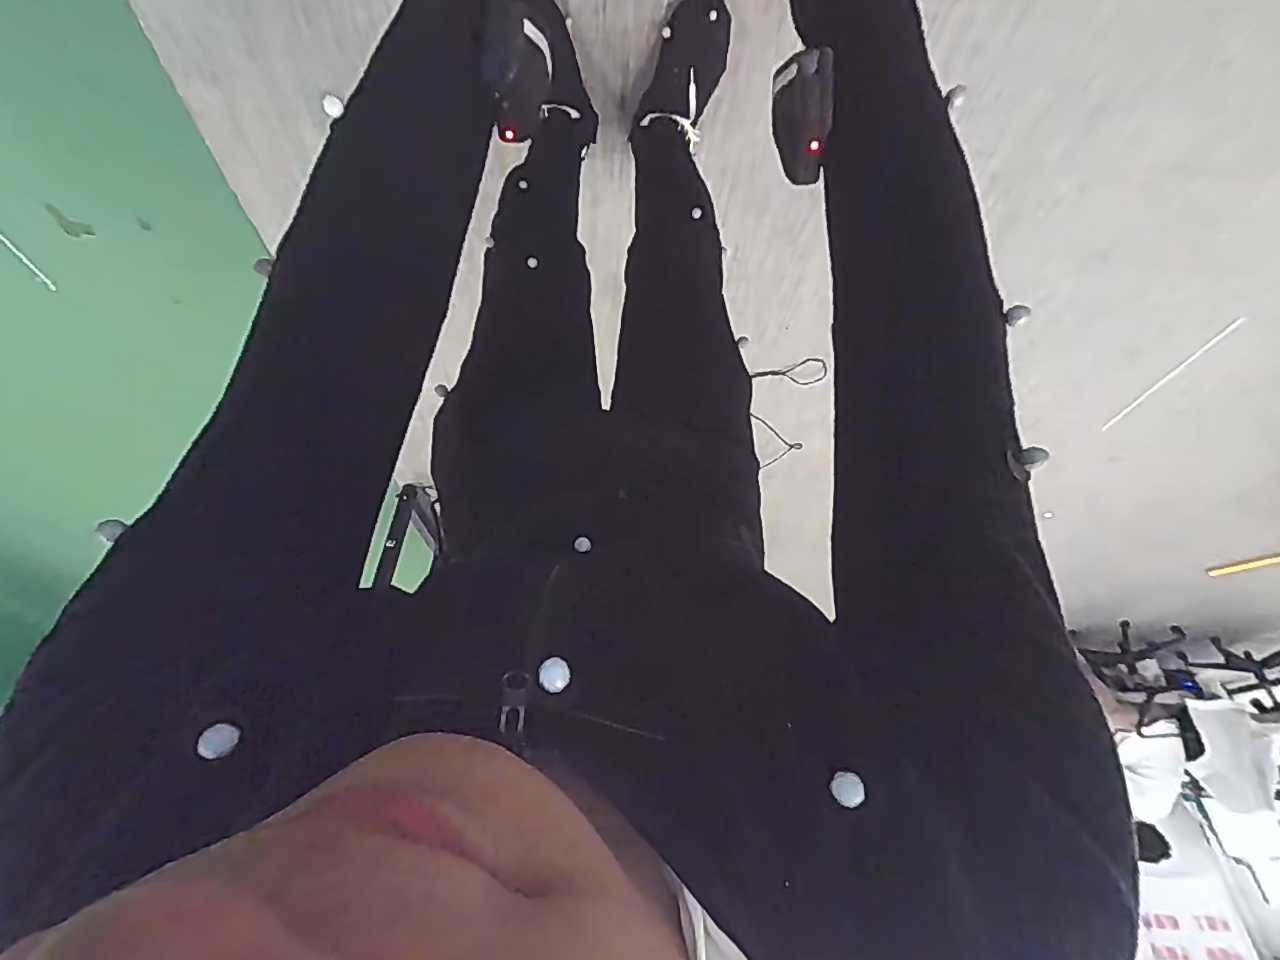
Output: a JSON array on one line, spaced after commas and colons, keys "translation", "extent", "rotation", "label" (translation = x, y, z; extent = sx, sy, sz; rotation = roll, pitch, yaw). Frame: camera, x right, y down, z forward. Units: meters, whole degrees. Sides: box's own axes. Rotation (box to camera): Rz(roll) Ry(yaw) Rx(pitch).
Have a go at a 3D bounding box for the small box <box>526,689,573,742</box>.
[{"translation": [-0.363, 0.957, 2.194], "extent": [0.168, 0.176, 0.179], "rotation": [4, 147, -4], "label": "small box"}]
